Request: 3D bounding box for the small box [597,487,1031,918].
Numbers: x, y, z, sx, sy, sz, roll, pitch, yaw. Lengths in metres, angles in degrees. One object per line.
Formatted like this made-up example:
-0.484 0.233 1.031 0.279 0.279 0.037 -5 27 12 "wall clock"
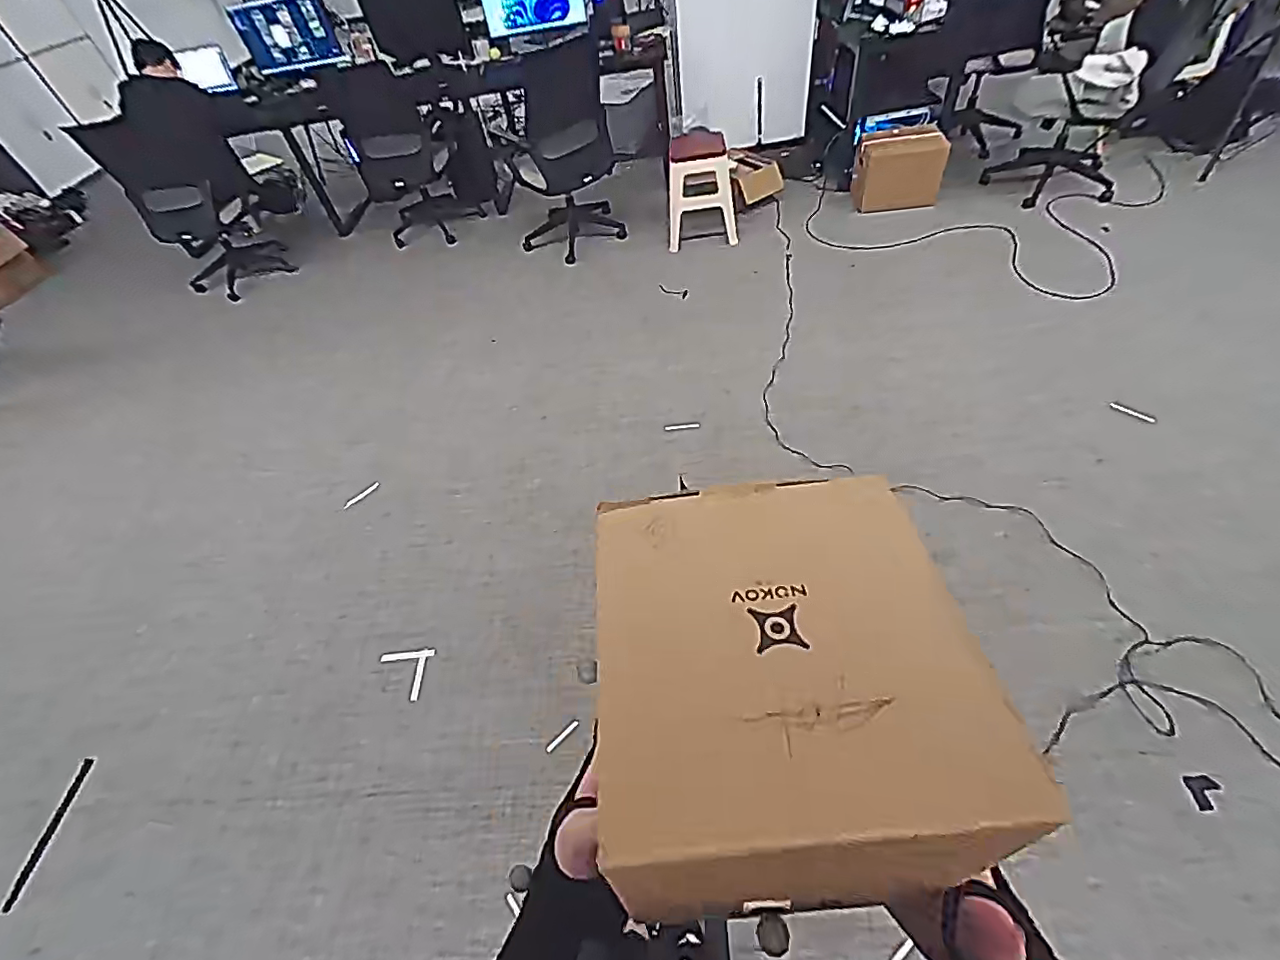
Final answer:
0.066 0.128 0.316 0.168 0.176 0.179 -6 45 1 "small box"
